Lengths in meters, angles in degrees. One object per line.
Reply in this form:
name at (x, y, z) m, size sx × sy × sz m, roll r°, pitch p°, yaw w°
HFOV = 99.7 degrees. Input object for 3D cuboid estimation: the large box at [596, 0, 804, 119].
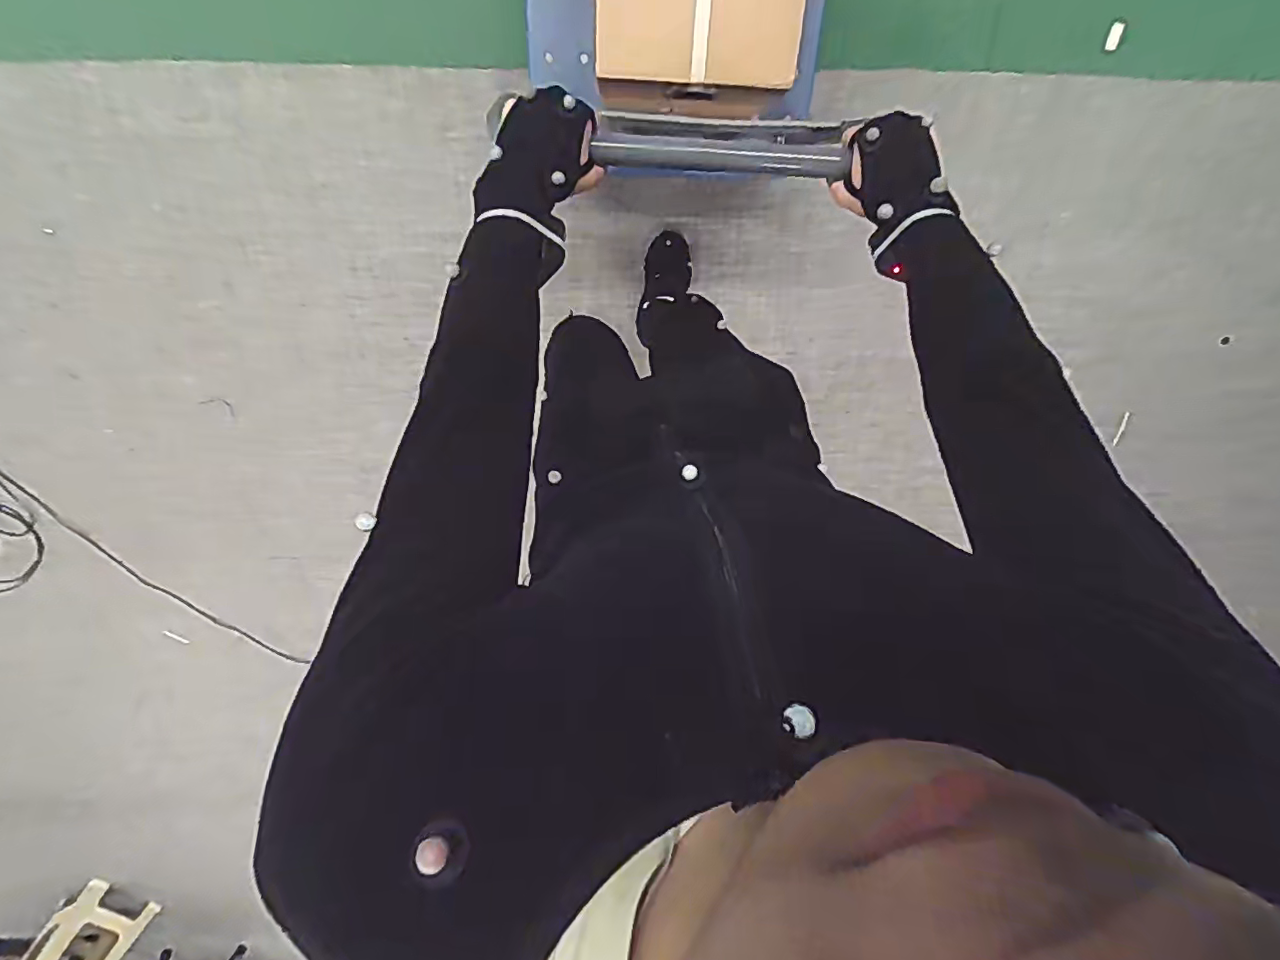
large box at (0.092, -0.863, 0.896) m, size 0.320 × 0.320 × 0.408 m, roll 2°, pitch 116°, yaw -3°
